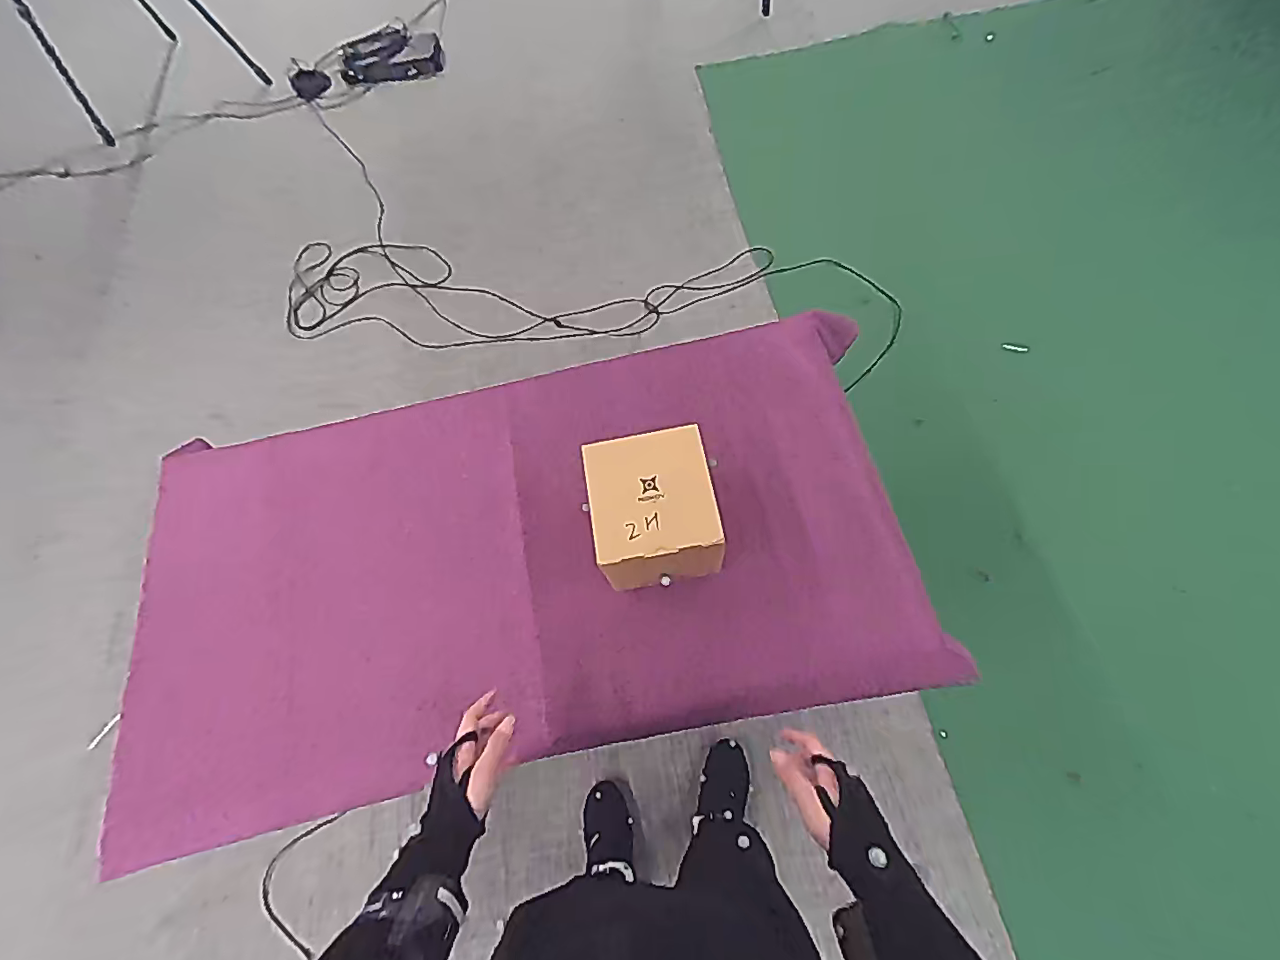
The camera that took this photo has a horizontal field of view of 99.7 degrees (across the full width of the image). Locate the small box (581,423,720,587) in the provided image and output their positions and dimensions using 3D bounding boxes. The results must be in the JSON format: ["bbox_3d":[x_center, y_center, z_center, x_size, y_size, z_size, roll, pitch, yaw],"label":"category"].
[{"bbox_3d":[0.016,0.043,0.788,0.168,0.176,0.179,-10,67,2],"label":"small box"}]
